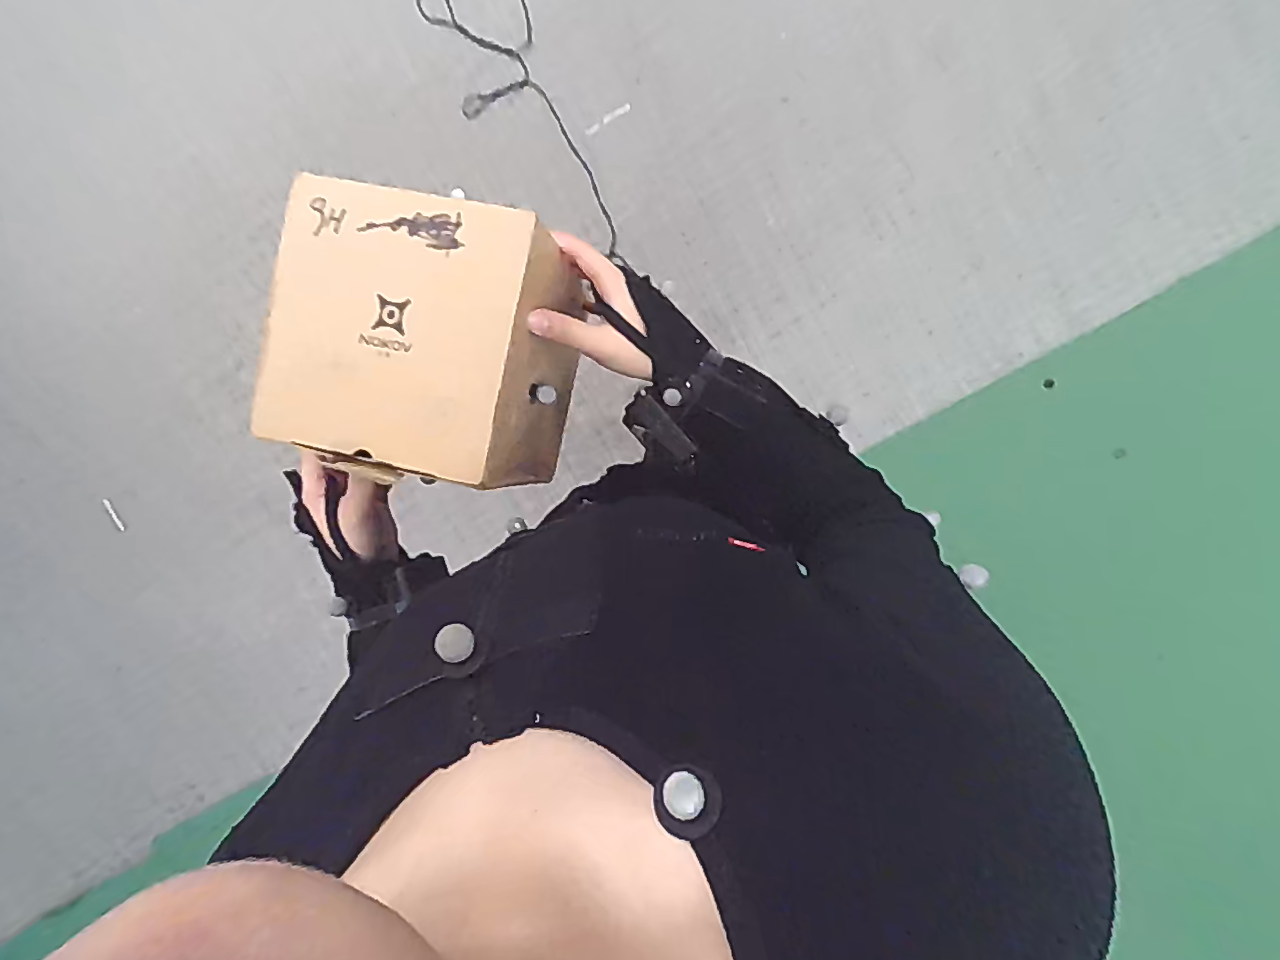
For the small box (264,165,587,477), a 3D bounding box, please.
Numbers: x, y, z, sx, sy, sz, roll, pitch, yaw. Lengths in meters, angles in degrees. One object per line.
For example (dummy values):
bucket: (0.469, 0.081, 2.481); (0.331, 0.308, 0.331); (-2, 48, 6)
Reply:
small box: (-0.148, -0.108, 0.429); (0.168, 0.176, 0.179); (12, 95, 5)
